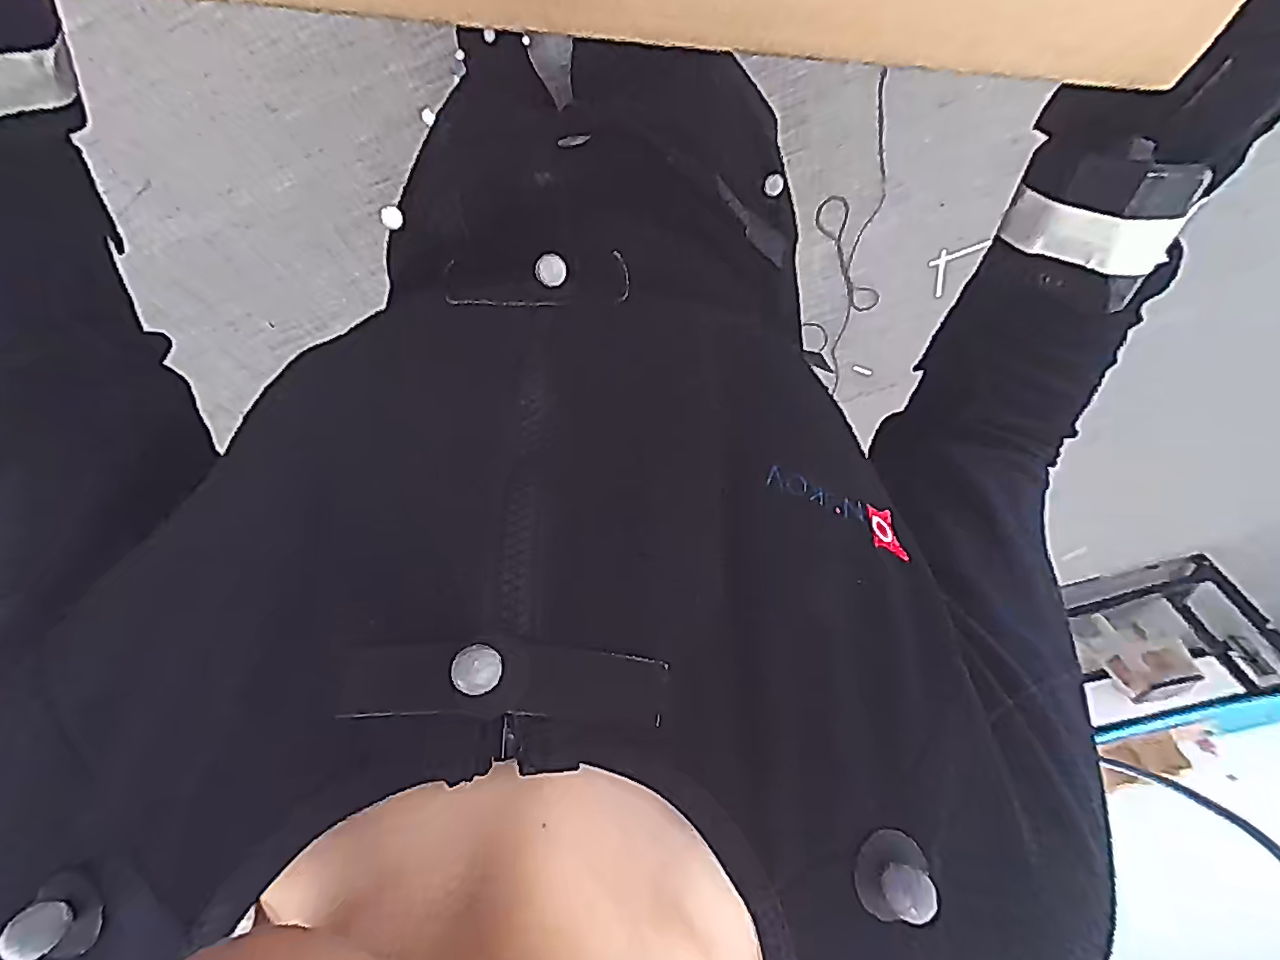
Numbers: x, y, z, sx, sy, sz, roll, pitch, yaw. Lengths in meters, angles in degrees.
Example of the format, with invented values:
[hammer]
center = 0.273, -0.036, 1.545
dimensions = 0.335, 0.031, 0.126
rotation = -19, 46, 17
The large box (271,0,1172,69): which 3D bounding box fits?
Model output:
[large box]
center = -0.013, -0.356, 0.130
dimensions = 0.408, 0.320, 0.320
rotation = -1, 146, -8
